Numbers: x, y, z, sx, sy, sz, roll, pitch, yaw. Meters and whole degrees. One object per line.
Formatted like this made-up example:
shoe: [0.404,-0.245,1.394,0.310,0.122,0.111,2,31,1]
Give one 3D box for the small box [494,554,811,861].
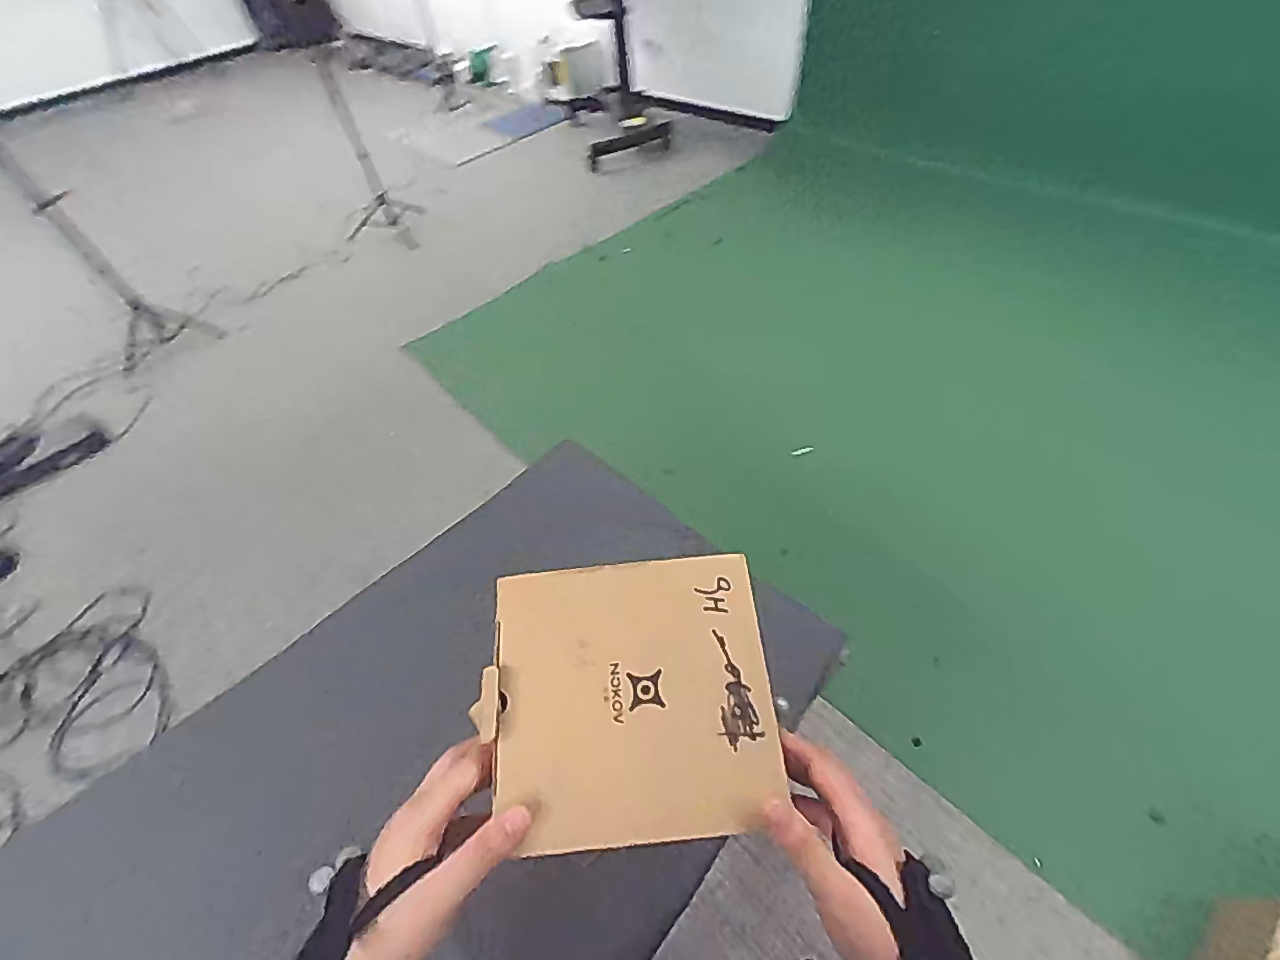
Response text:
small box: [0.006,0.164,0.398,0.179,0.176,0.168,-5,64,0]
